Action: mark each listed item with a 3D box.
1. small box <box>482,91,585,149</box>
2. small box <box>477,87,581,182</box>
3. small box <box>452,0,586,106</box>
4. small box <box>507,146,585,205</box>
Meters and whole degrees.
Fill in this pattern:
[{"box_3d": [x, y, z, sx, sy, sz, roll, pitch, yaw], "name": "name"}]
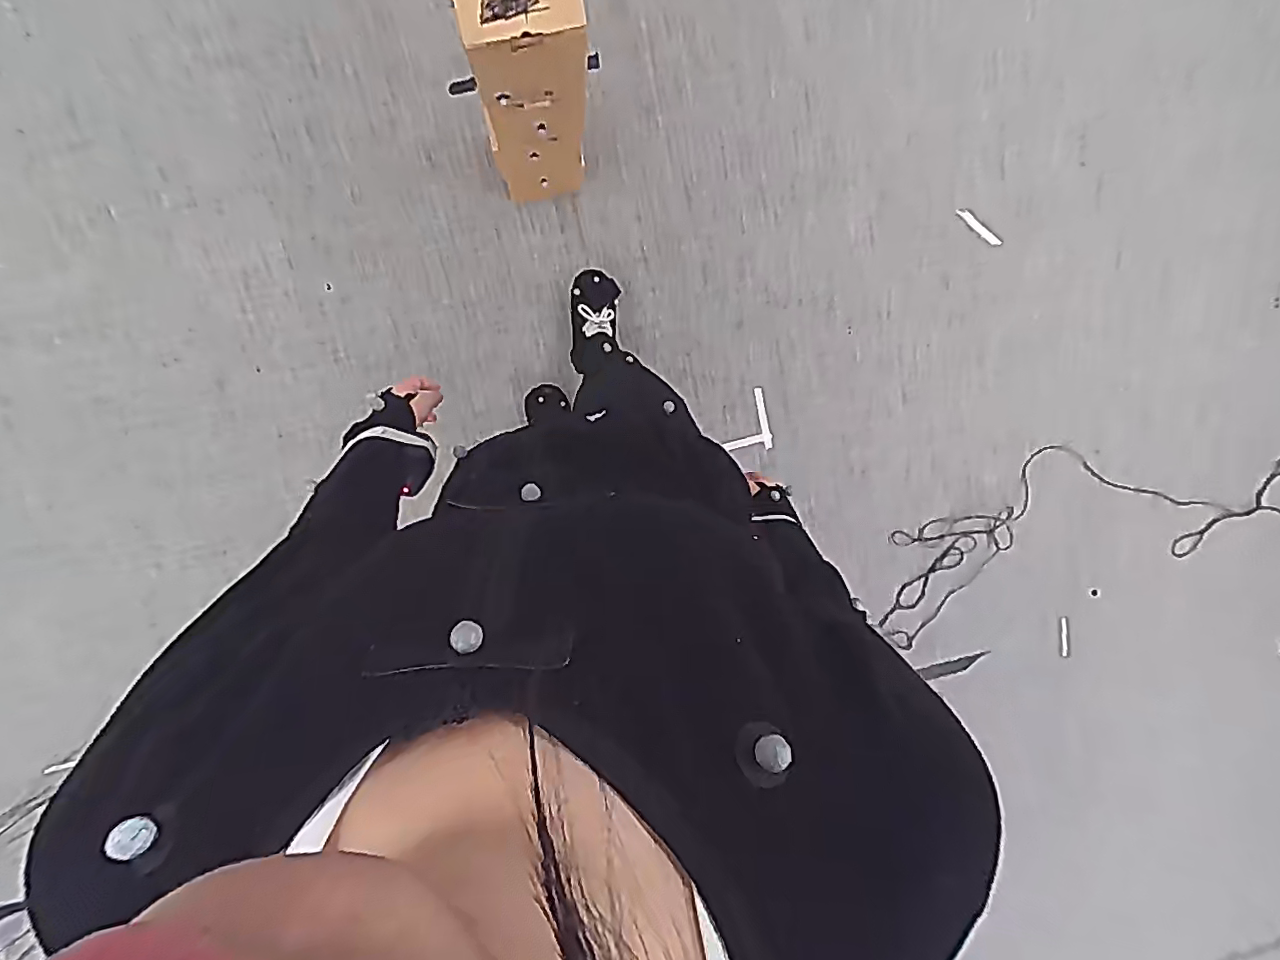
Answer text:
[{"box_3d": [-0.189, -0.692, 0.925, 0.168, 0.176, 0.179, -11, 103, -5], "name": "small box"}, {"box_3d": [-0.217, -0.719, 1.085, 0.179, 0.176, 0.168, -10, 103, -5], "name": "small box"}, {"box_3d": [-0.171, -0.663, 0.764, 0.168, 0.176, 0.179, -12, 101, -5], "name": "small box"}, {"box_3d": [-0.231, -0.754, 1.245, 0.179, 0.176, 0.168, -13, 102, -5], "name": "small box"}]
